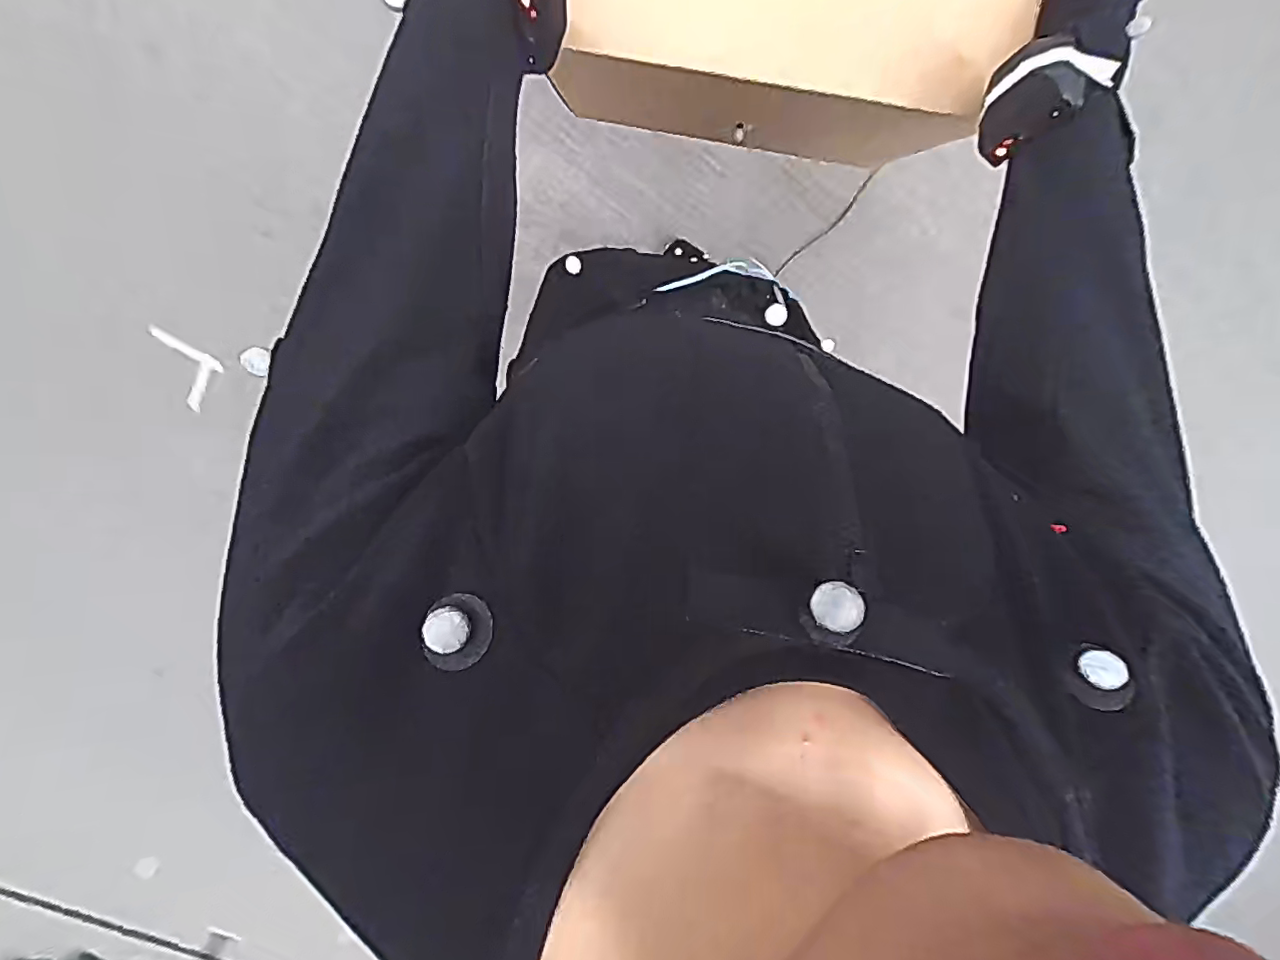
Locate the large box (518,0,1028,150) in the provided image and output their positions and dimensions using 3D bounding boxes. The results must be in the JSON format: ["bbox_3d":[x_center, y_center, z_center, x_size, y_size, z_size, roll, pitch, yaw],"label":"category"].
[{"bbox_3d":[0.123,-0.534,0.517,0.408,0.320,0.320,8,113,-1],"label":"large box"}]
